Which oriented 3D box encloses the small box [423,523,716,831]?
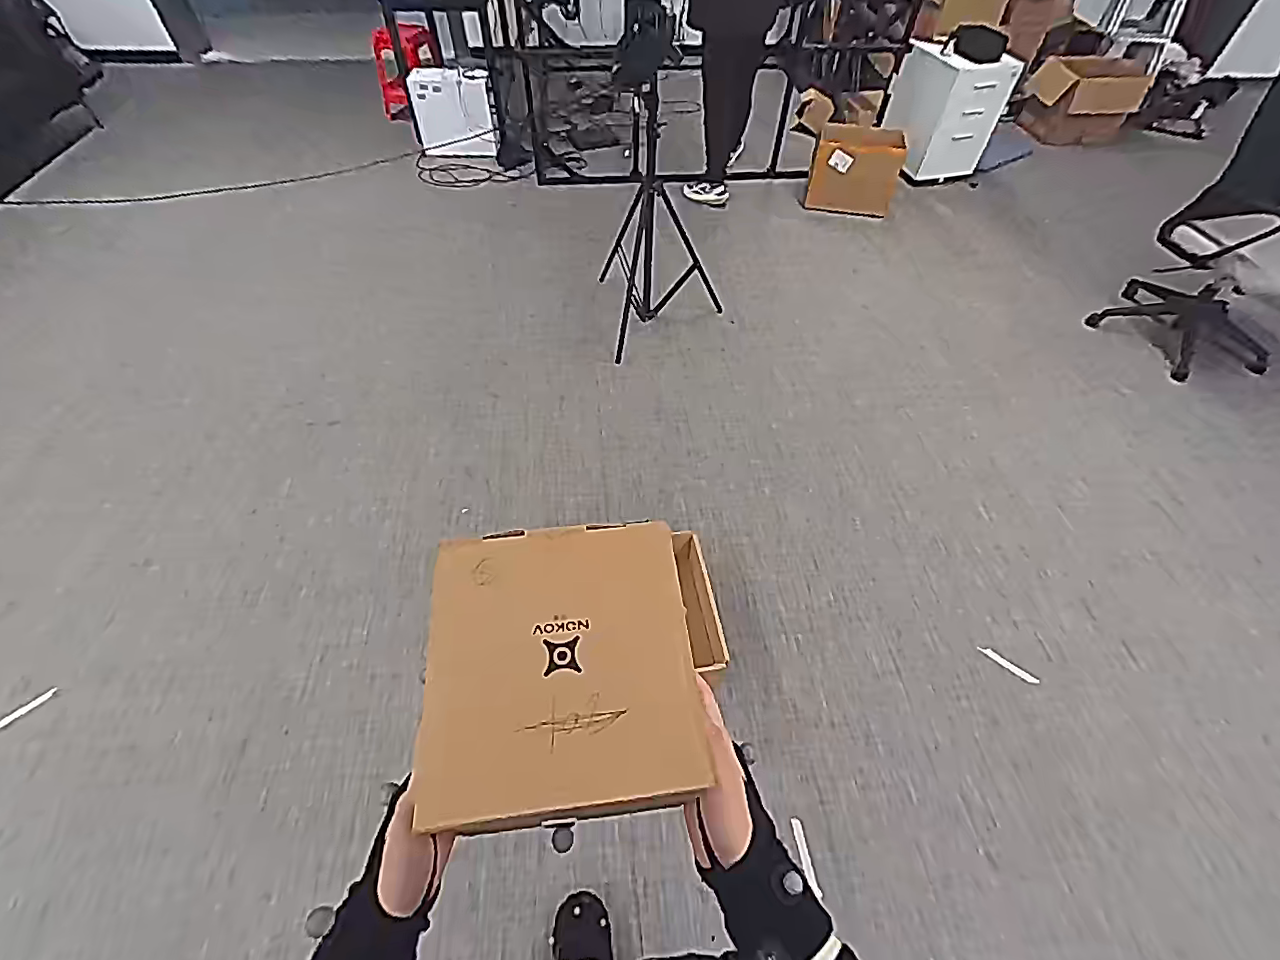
[{"bbox_3d":[-0.051,0.153,0.411,0.168,0.176,0.179,-4,57,-7],"label":"small box"}]
